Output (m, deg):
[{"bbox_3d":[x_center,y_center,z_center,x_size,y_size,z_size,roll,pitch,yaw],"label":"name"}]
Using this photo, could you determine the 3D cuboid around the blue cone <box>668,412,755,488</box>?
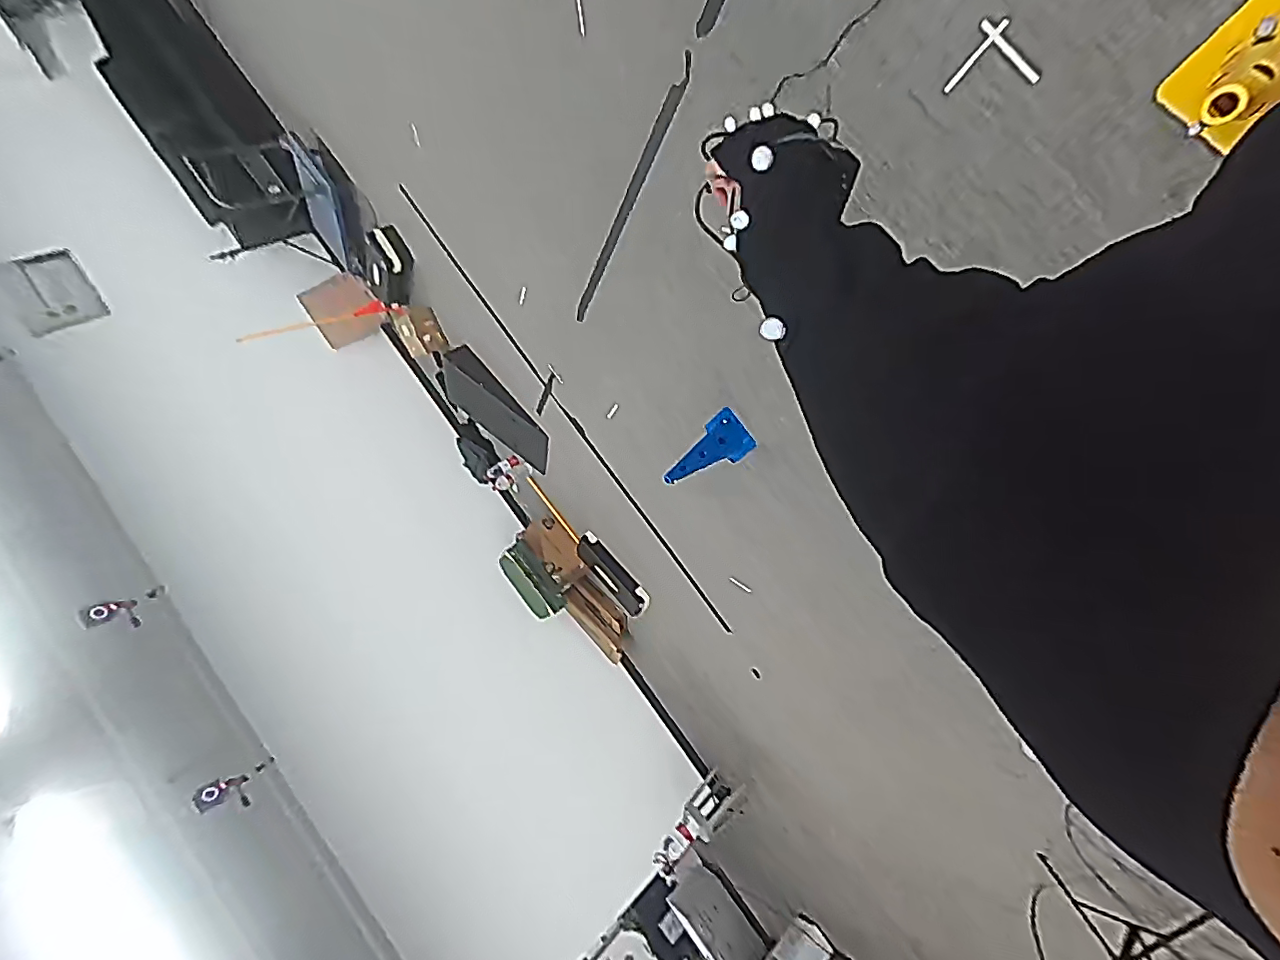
[{"bbox_3d":[0.242,-0.086,2.078,0.192,0.380,0.193,53,152,3],"label":"blue cone"}]
